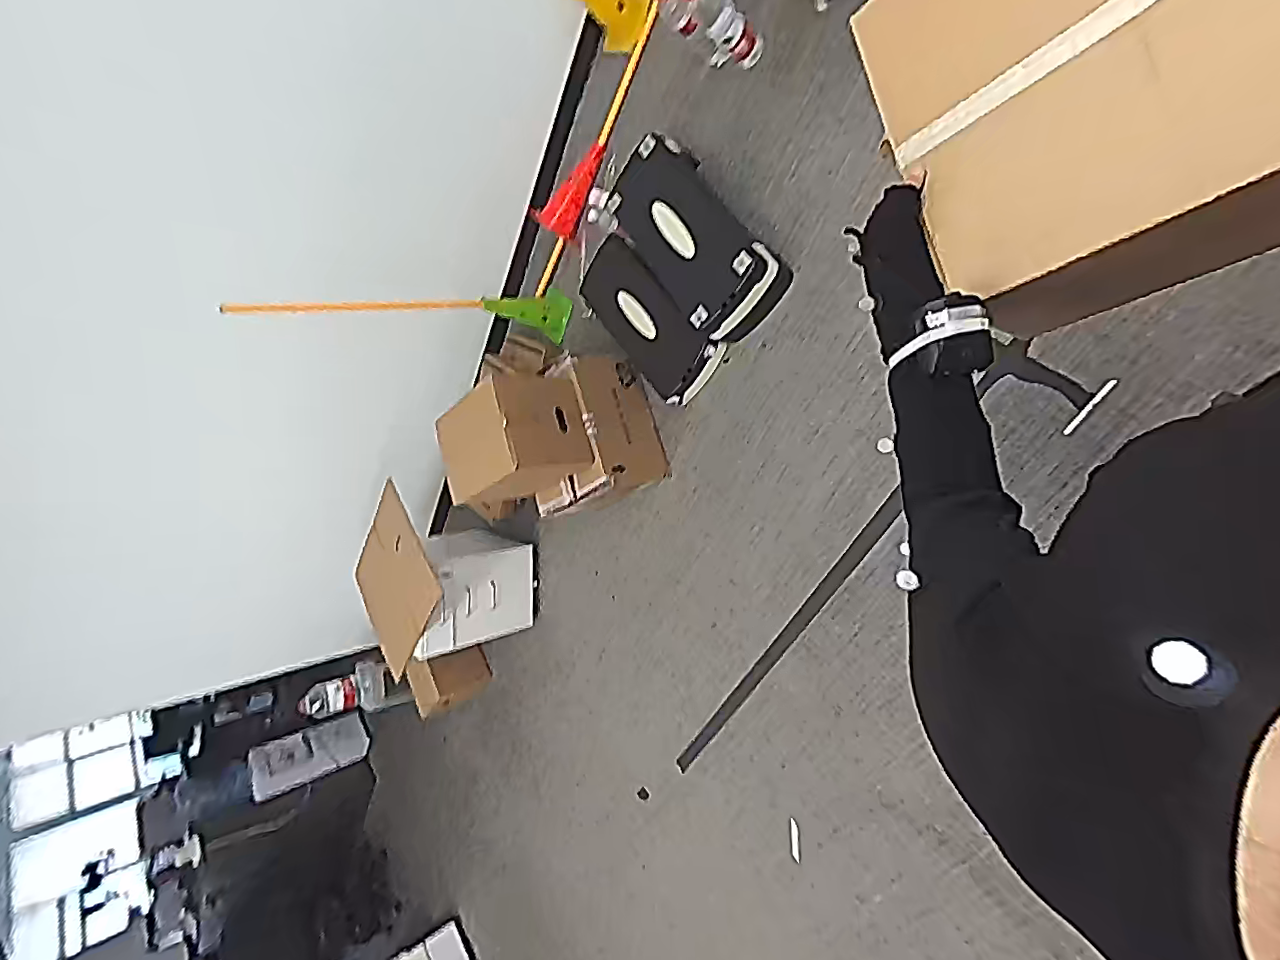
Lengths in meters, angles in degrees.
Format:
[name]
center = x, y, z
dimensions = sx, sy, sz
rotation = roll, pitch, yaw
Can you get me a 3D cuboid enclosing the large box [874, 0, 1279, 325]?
[large box]
center = 0.496, -0.379, 0.476
dimensions = 0.408, 0.320, 0.320
rotation = -19, 83, 44
